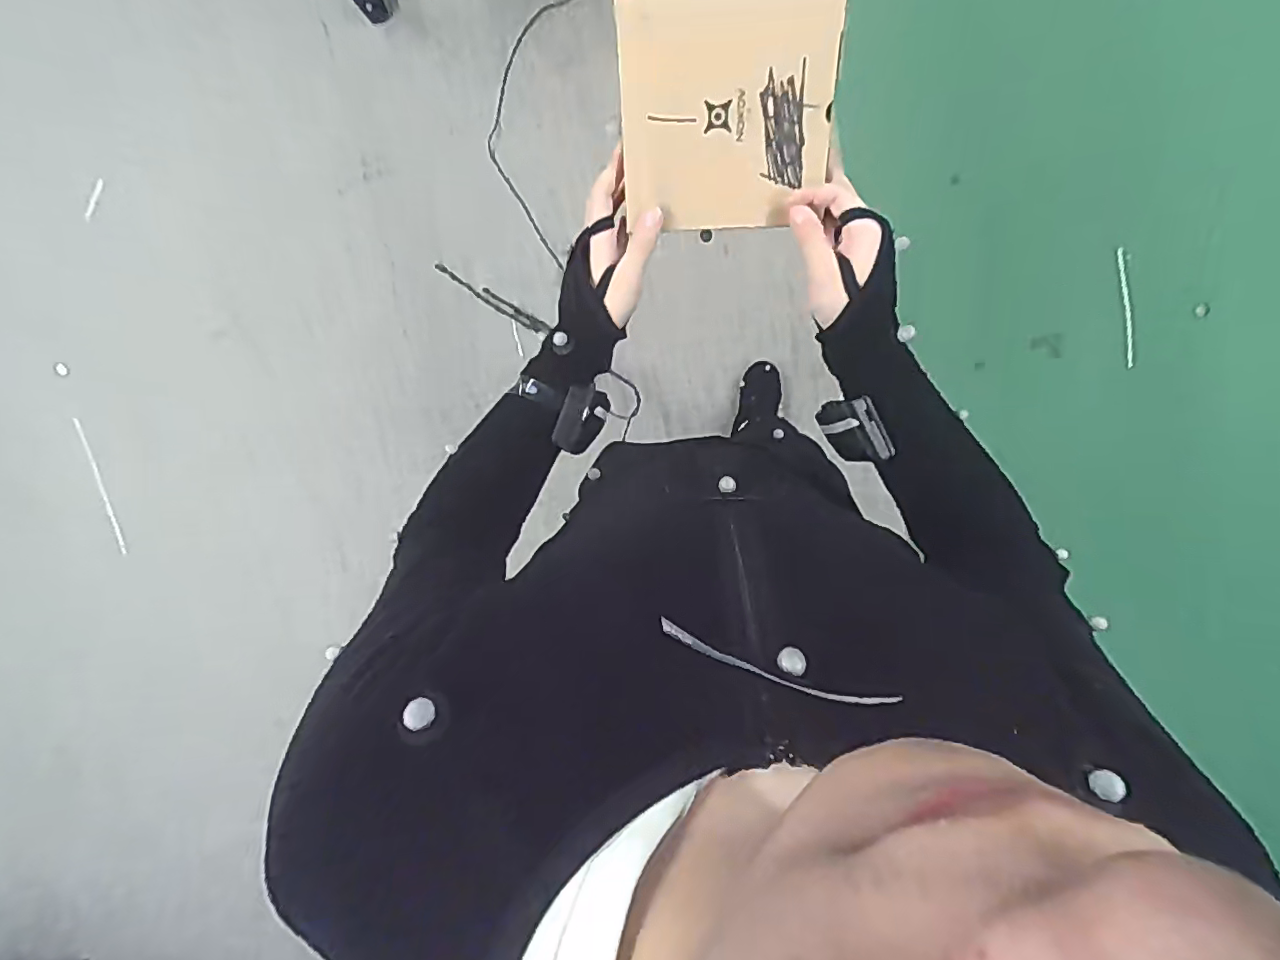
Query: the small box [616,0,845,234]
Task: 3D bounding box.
[{"bbox_3d":[0.071,-0.332,0.513,0.179,0.176,0.168,-2,118,2],"label":"small box"}]
